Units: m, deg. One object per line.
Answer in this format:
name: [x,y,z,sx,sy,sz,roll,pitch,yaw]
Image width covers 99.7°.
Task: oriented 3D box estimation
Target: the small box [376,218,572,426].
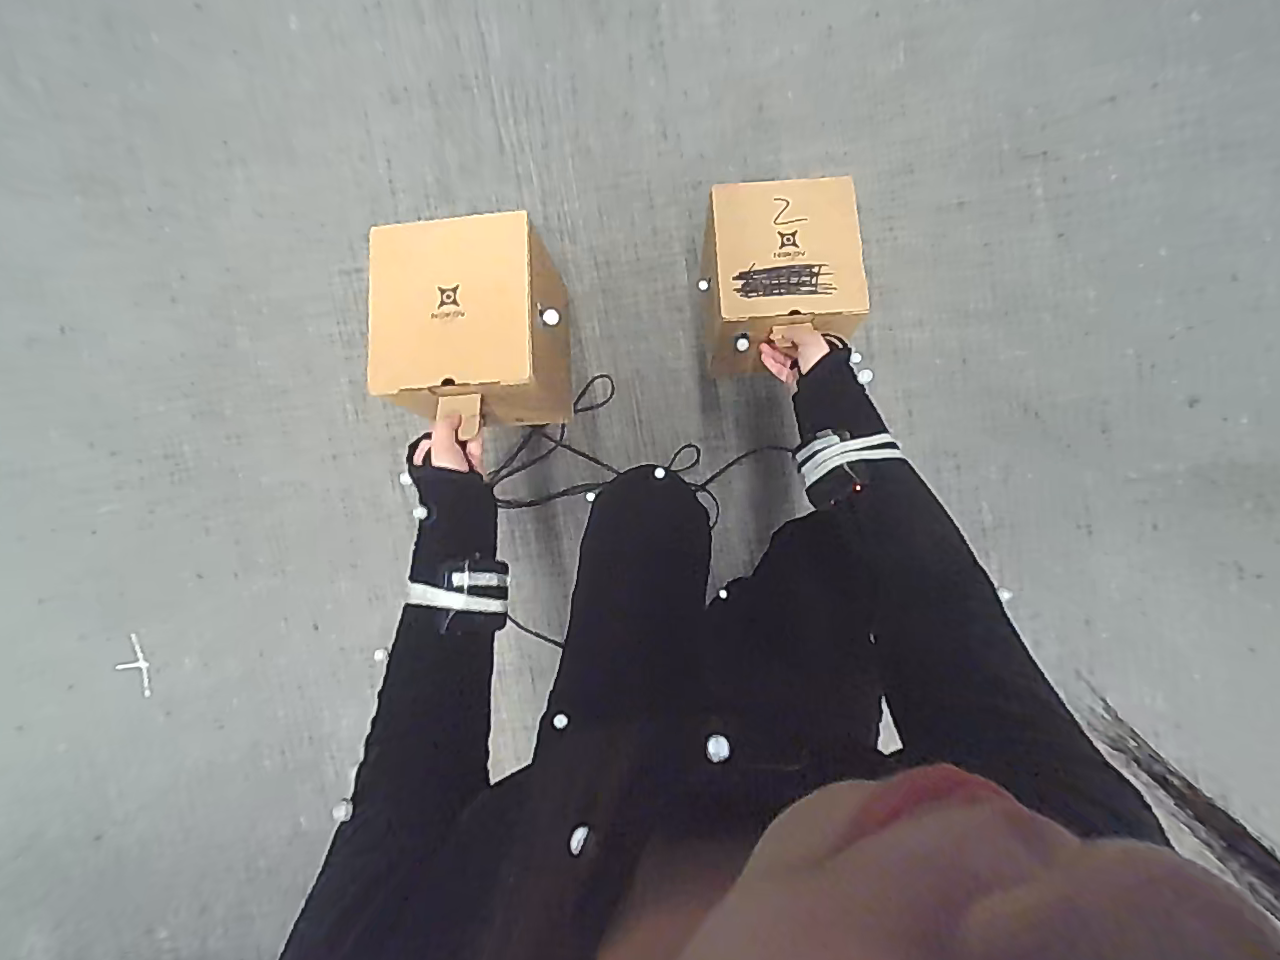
small box: [-0.178,-0.169,0.625,0.168,0.176,0.179,-3,84,6]
